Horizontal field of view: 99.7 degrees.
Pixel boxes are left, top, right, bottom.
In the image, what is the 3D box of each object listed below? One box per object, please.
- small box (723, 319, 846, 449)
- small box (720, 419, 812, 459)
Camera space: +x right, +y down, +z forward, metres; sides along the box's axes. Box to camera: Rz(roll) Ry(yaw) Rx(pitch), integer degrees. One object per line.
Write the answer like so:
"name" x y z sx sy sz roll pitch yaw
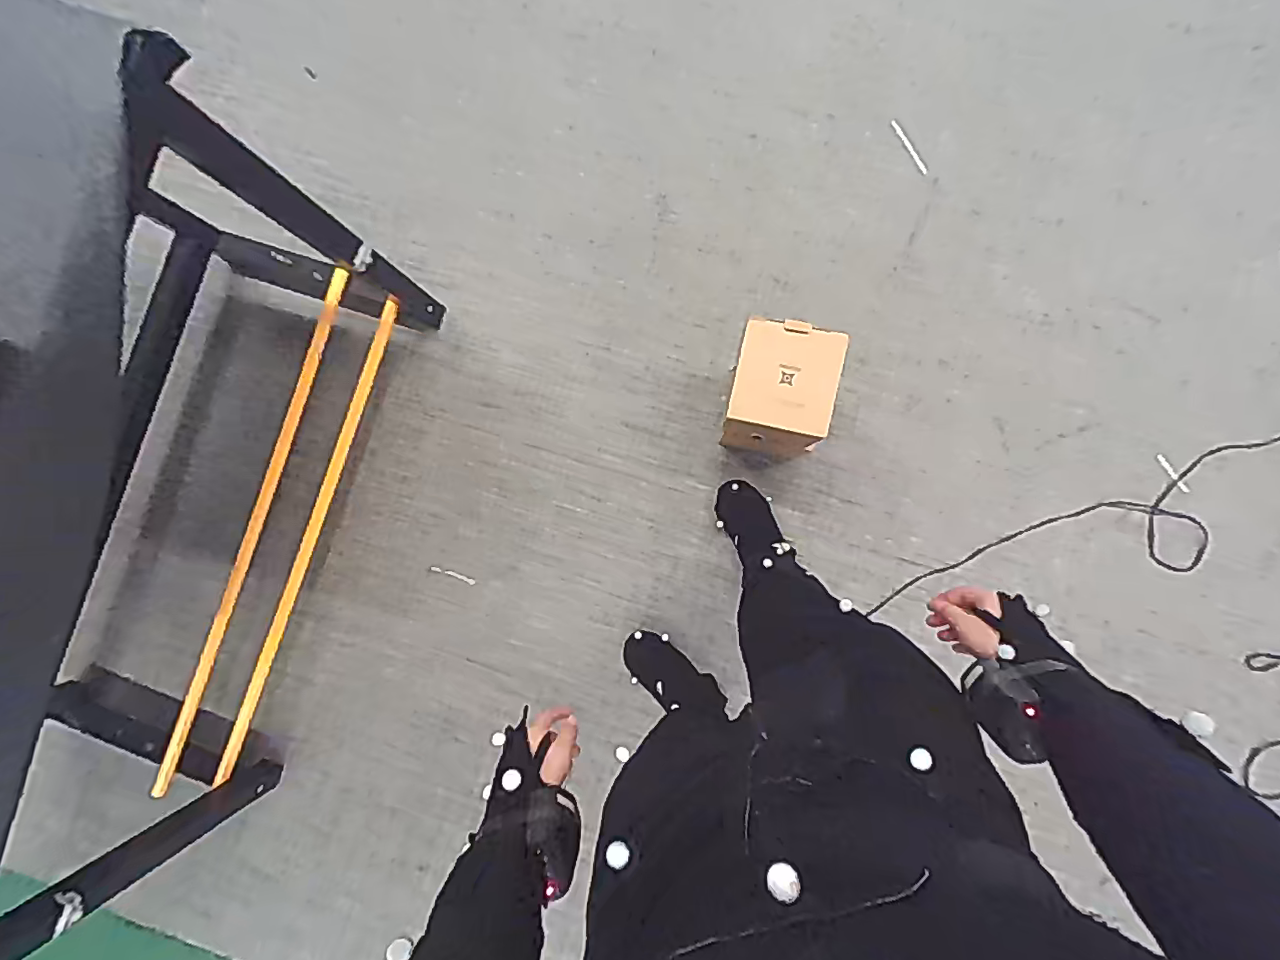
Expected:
"small box" 0.245 -0.161 0.959 0.168 0.176 0.179 12 89 7
"small box" 0.268 -0.144 1.120 0.179 0.176 0.168 13 88 6
